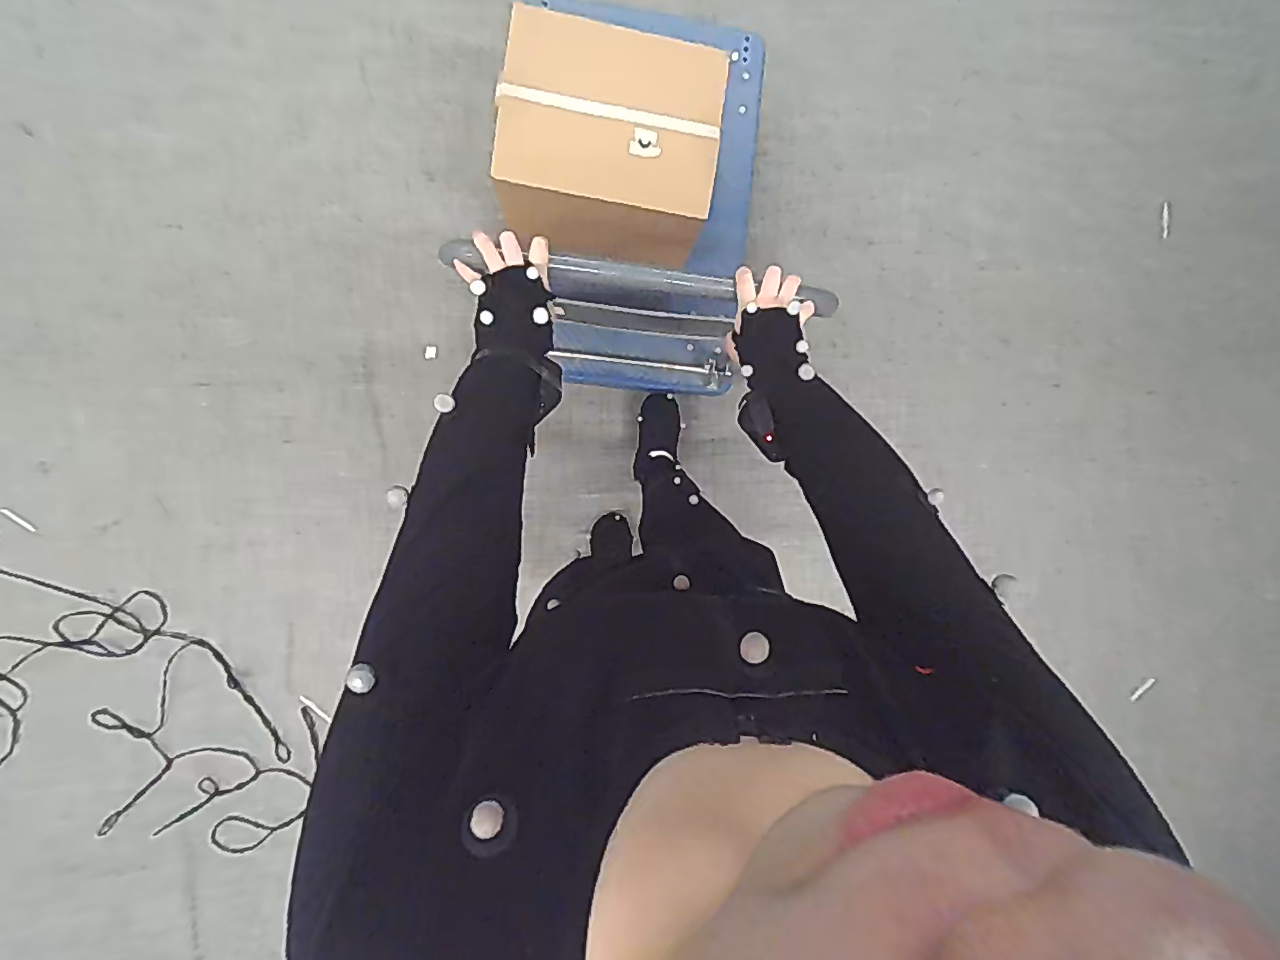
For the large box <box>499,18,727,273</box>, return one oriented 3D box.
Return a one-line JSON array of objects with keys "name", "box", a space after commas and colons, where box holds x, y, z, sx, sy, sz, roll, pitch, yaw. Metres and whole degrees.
[{"name": "large box", "box": [-0.065, -0.674, 1.154, 0.408, 0.320, 0.320, 8, 91, -6]}]
